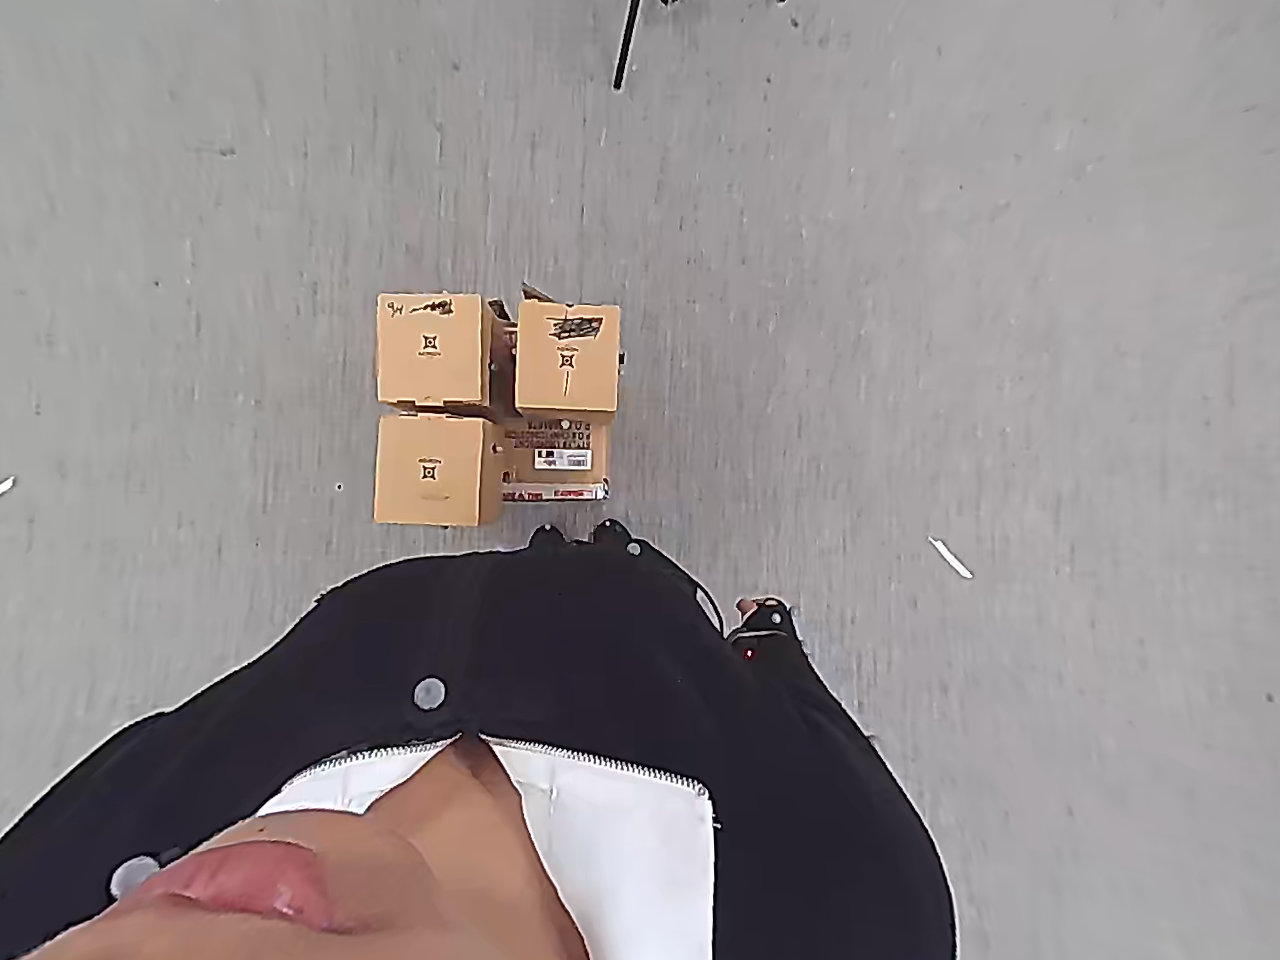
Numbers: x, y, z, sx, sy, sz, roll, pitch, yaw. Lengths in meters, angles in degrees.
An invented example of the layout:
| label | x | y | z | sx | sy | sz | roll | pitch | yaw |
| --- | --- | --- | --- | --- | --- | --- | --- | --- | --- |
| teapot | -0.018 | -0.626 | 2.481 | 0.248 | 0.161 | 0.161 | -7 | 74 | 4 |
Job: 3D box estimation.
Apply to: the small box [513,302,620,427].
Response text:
| label | x | y | z | sx | sy | sz | roll | pitch | yaw |
| --- | --- | --- | --- | --- | --- | --- | --- | --- | --- |
| small box | -0.126 | -0.194 | 0.952 | 0.168 | 0.176 | 0.179 | 3 | 89 | -5 |
